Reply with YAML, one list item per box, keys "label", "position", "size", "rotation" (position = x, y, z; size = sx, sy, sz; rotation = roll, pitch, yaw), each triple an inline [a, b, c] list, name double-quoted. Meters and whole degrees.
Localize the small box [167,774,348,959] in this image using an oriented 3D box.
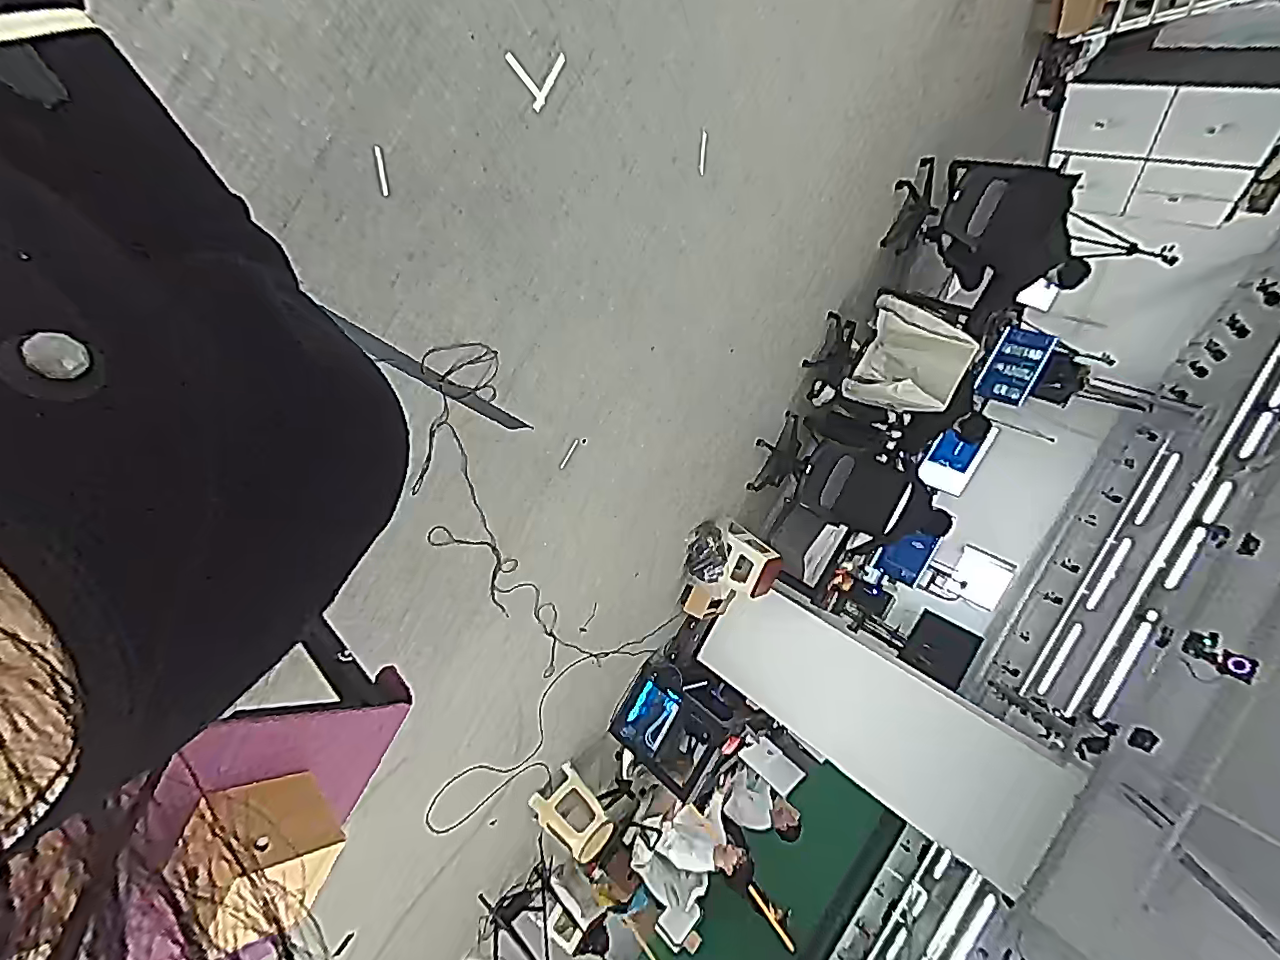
- label: "small box"
  position: [-0.641, 0.632, 0.903]
  size: [0.168, 0.176, 0.179]
  rotation: [-60, 148, 3]
